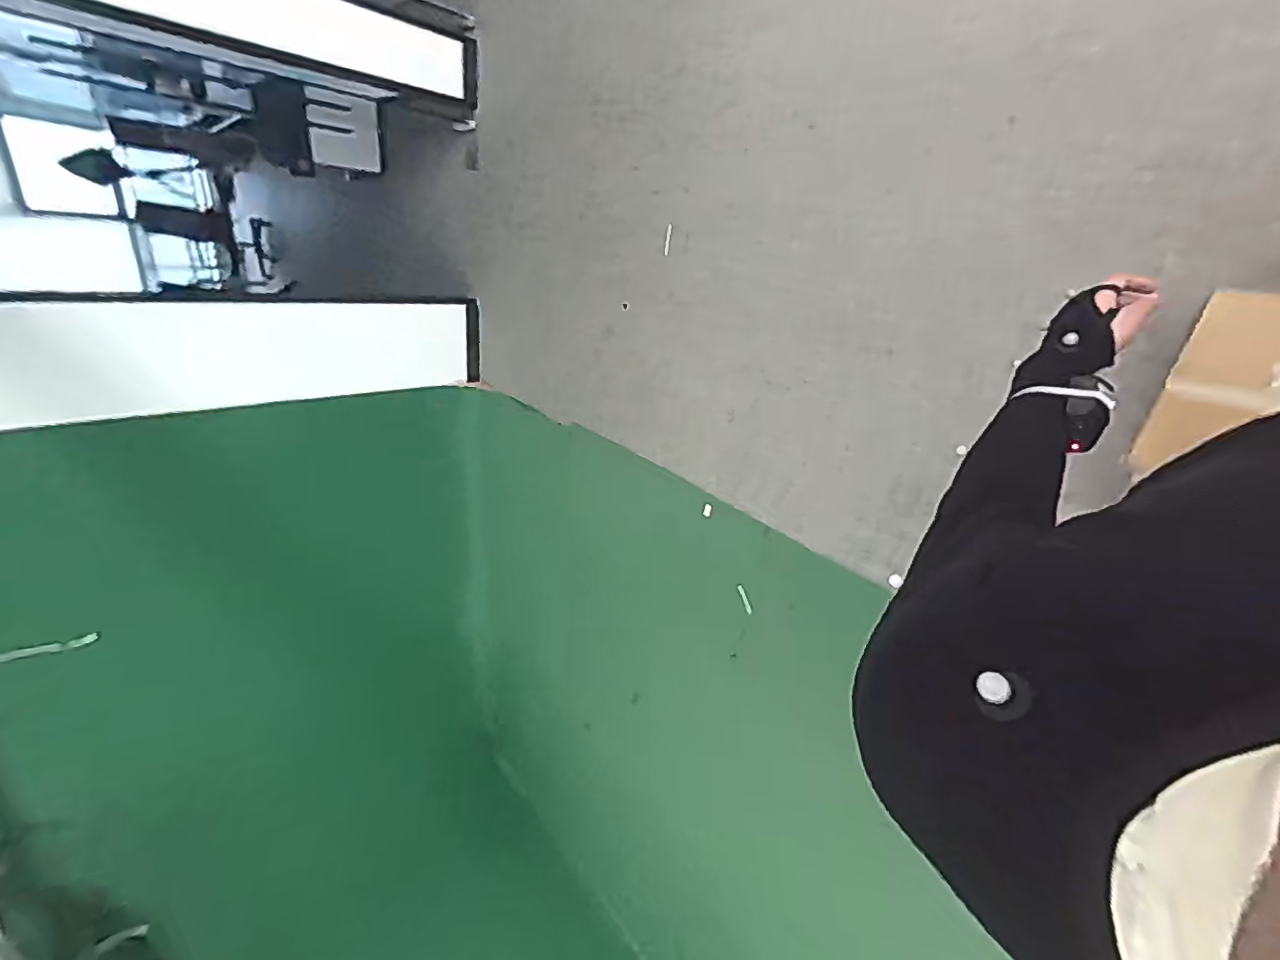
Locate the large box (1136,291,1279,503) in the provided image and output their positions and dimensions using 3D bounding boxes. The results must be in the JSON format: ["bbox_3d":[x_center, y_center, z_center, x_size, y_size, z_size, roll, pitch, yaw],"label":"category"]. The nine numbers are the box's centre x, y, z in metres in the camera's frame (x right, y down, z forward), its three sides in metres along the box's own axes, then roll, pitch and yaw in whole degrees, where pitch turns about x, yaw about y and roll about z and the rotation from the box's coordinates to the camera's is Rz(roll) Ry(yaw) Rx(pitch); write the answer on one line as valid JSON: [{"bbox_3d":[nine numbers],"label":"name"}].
[{"bbox_3d":[1.166,-0.128,0.897,0.408,0.320,0.320,29,121,40],"label":"large box"}]
